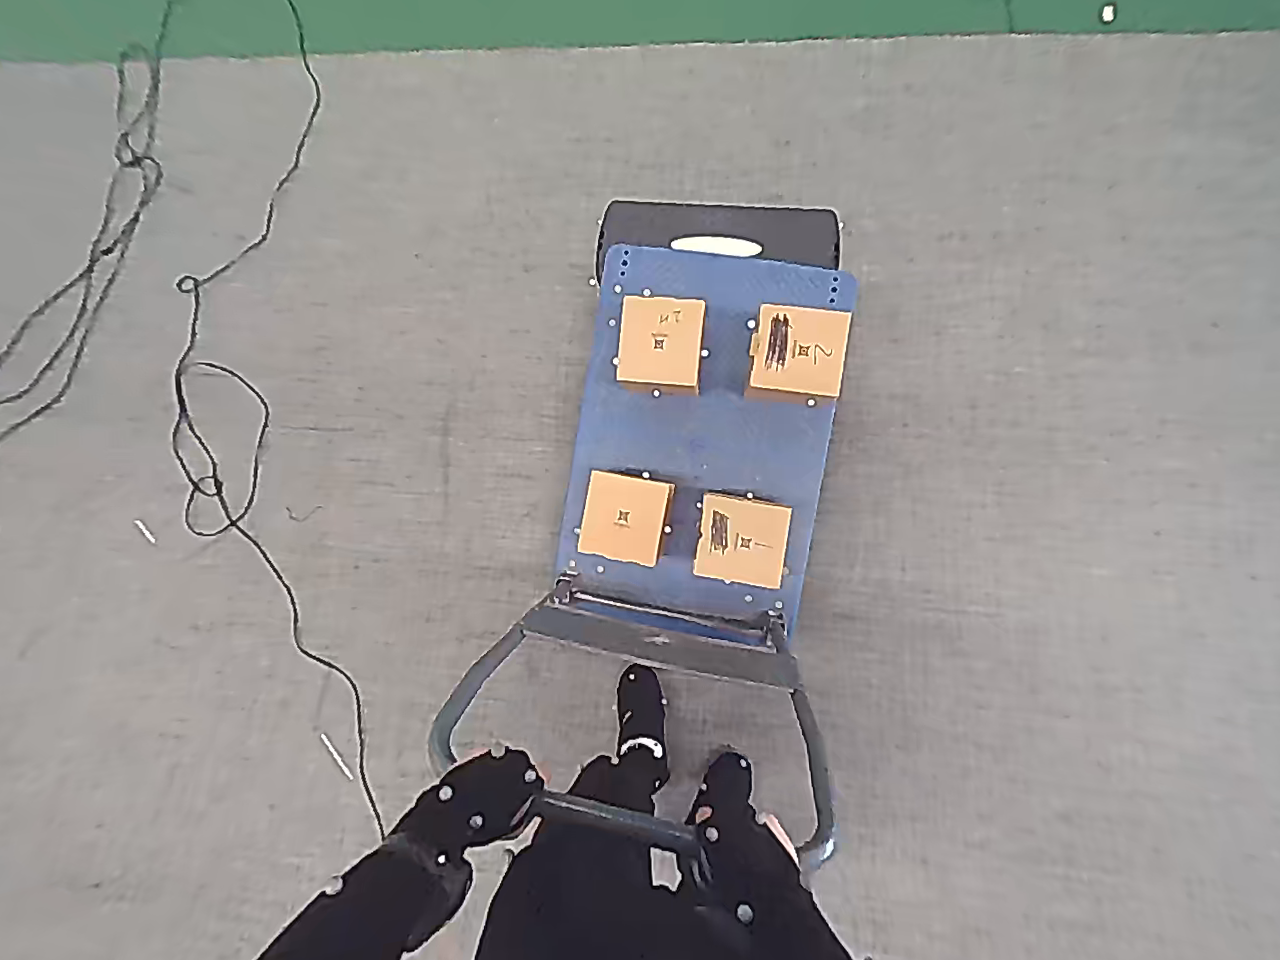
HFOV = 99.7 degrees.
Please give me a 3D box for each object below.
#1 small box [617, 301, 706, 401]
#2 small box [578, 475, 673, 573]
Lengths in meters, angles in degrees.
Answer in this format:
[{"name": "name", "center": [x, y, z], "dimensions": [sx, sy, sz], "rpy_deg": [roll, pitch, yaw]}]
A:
[{"name": "small box", "center": [0.052, -0.270, 1.168], "dimensions": [0.168, 0.176, 0.179], "rpy_deg": [6, 92, 7]}, {"name": "small box", "center": [-0.024, 0.087, 1.182], "dimensions": [0.168, 0.176, 0.179], "rpy_deg": [11, 93, 7]}]
